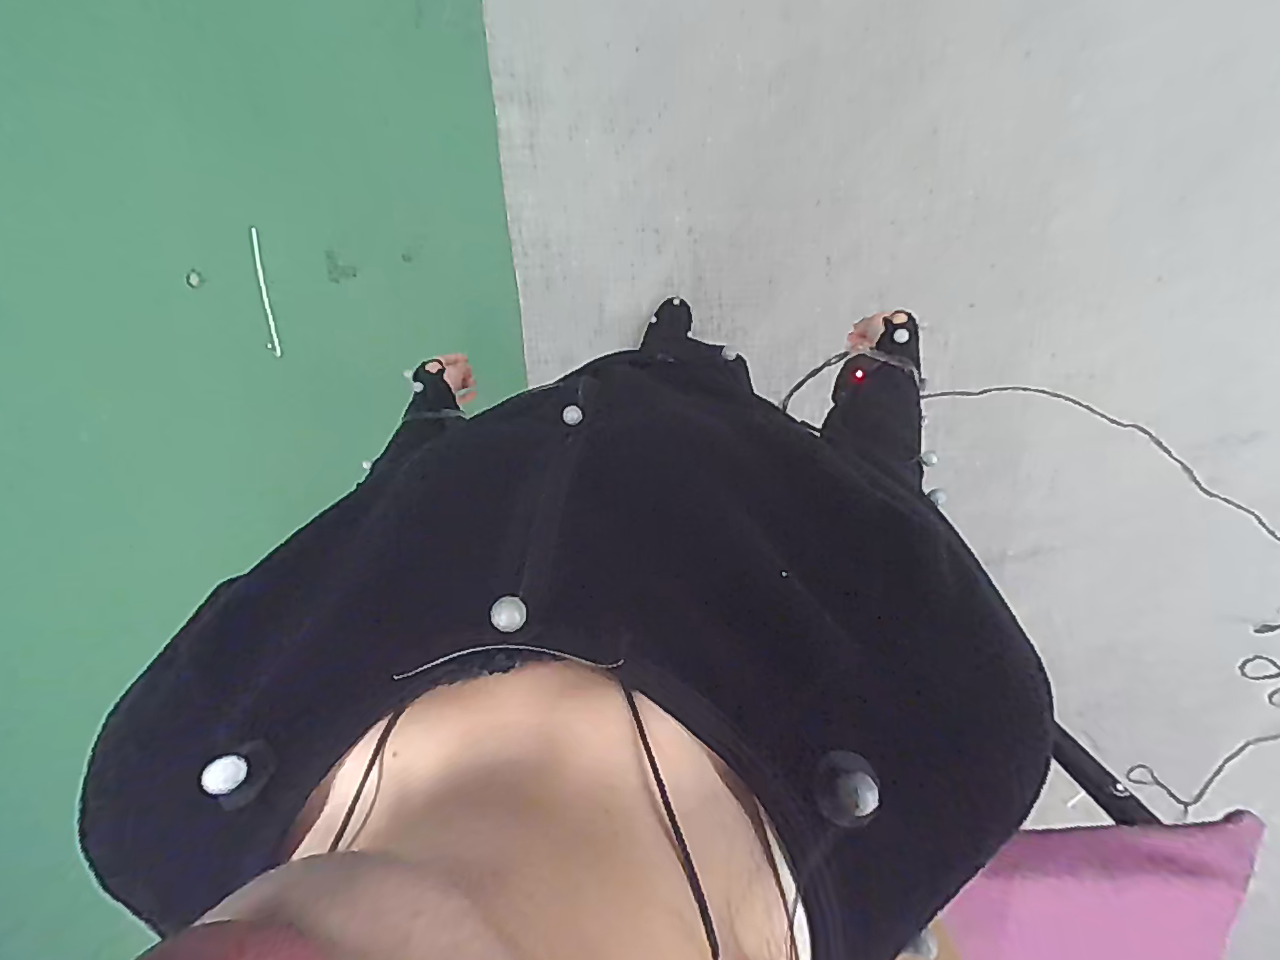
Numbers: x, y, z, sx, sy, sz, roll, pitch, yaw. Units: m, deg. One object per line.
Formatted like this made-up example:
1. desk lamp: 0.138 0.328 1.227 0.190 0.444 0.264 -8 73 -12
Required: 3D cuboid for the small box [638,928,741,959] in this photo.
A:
1. small box: 0.083 0.877 0.884 0.179 0.176 0.168 -3 105 2
